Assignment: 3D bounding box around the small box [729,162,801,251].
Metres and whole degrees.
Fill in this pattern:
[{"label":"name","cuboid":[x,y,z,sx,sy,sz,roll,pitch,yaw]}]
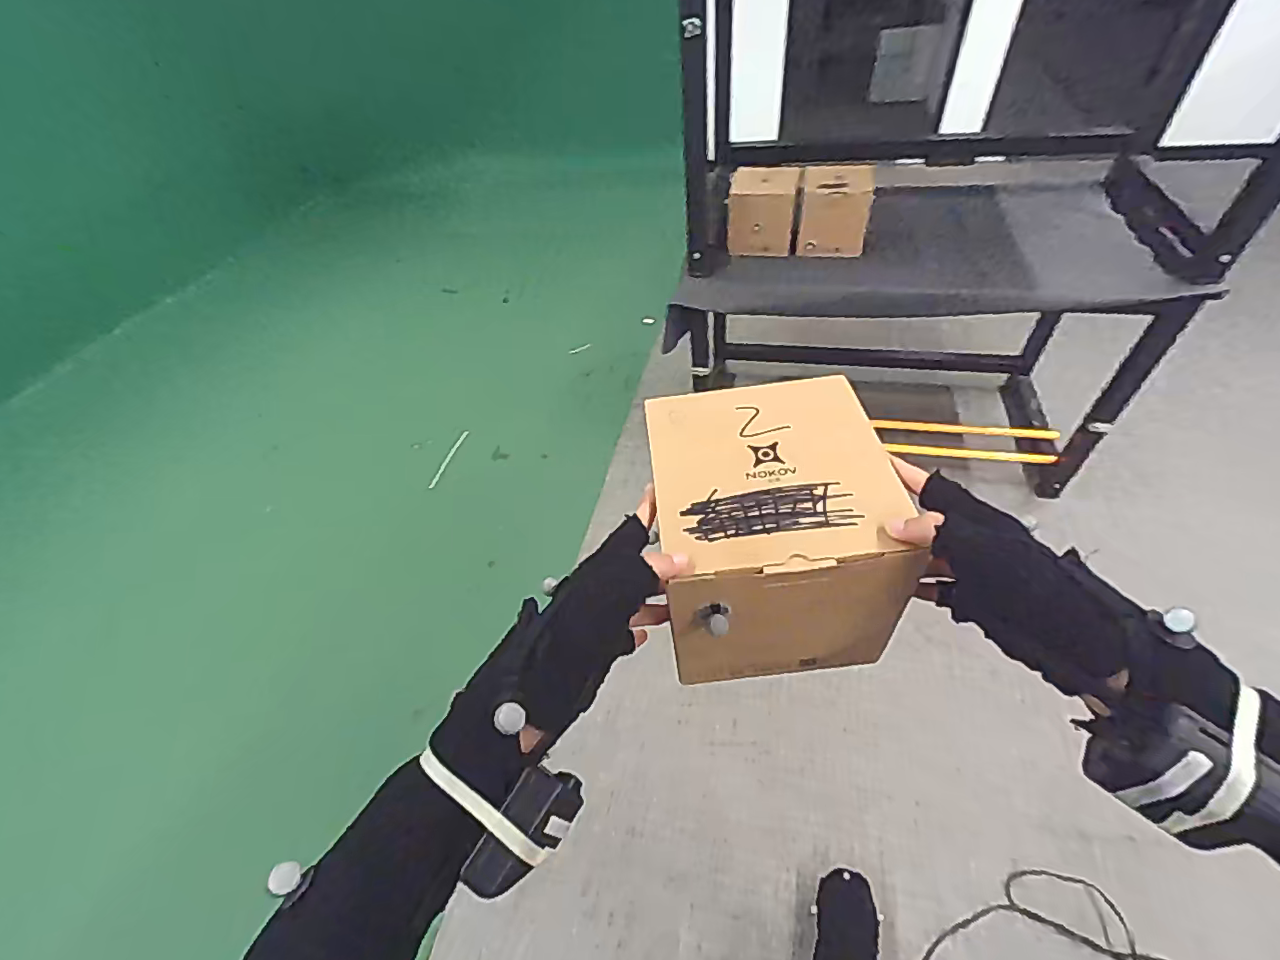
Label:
[{"label":"small box","cuboid":[0.338,-0.742,1.472,0.168,0.176,0.179,9,51,13]}]
